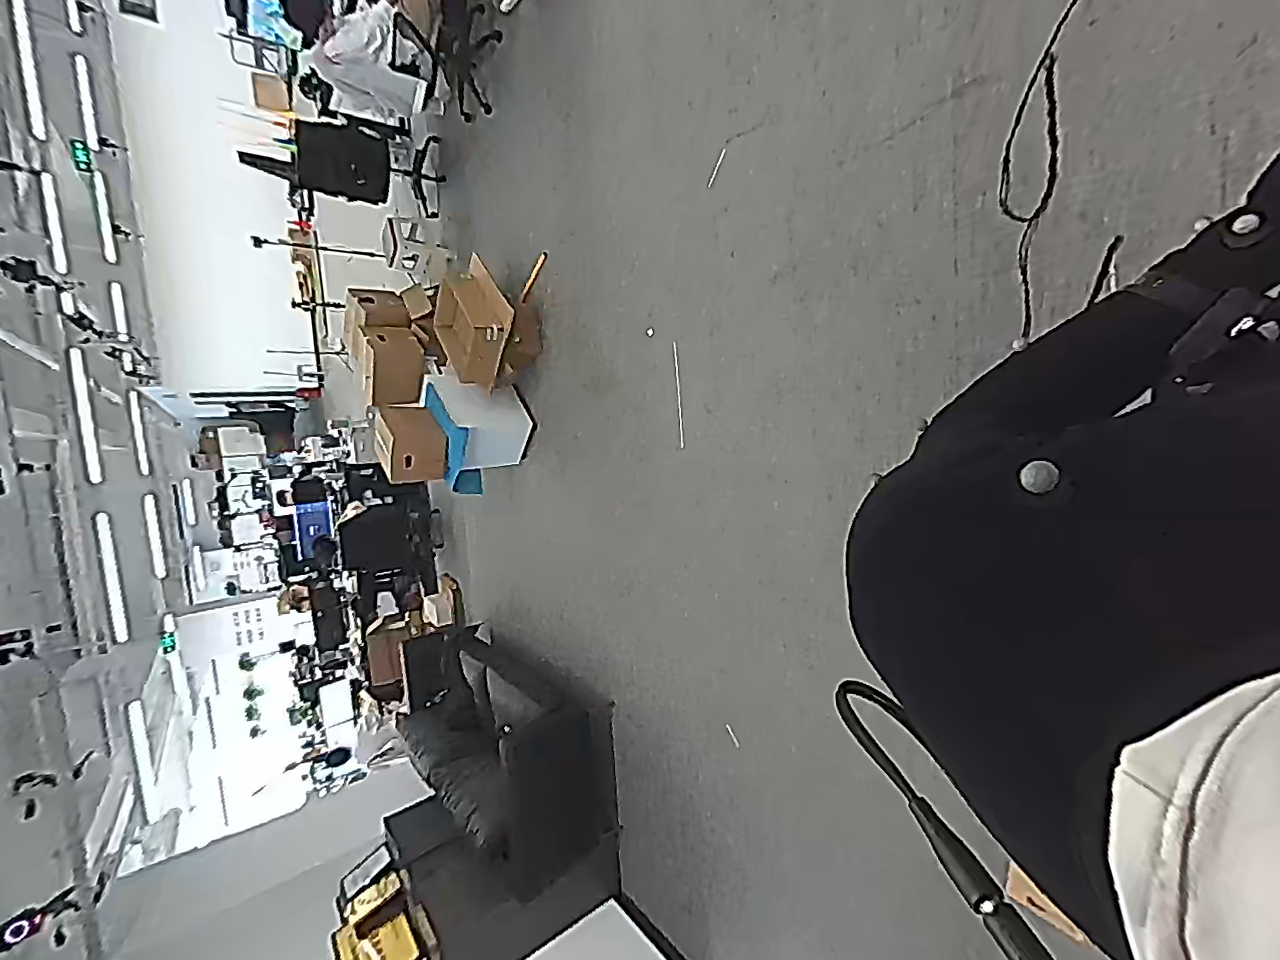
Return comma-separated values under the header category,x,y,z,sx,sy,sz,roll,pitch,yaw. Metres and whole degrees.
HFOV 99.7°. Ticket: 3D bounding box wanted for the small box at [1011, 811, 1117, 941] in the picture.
category,x,y,z,sx,sy,sz,roll,pitch,yaw
small box,1.091,1.003,1.389,0.168,0.176,0.179,16,108,52
